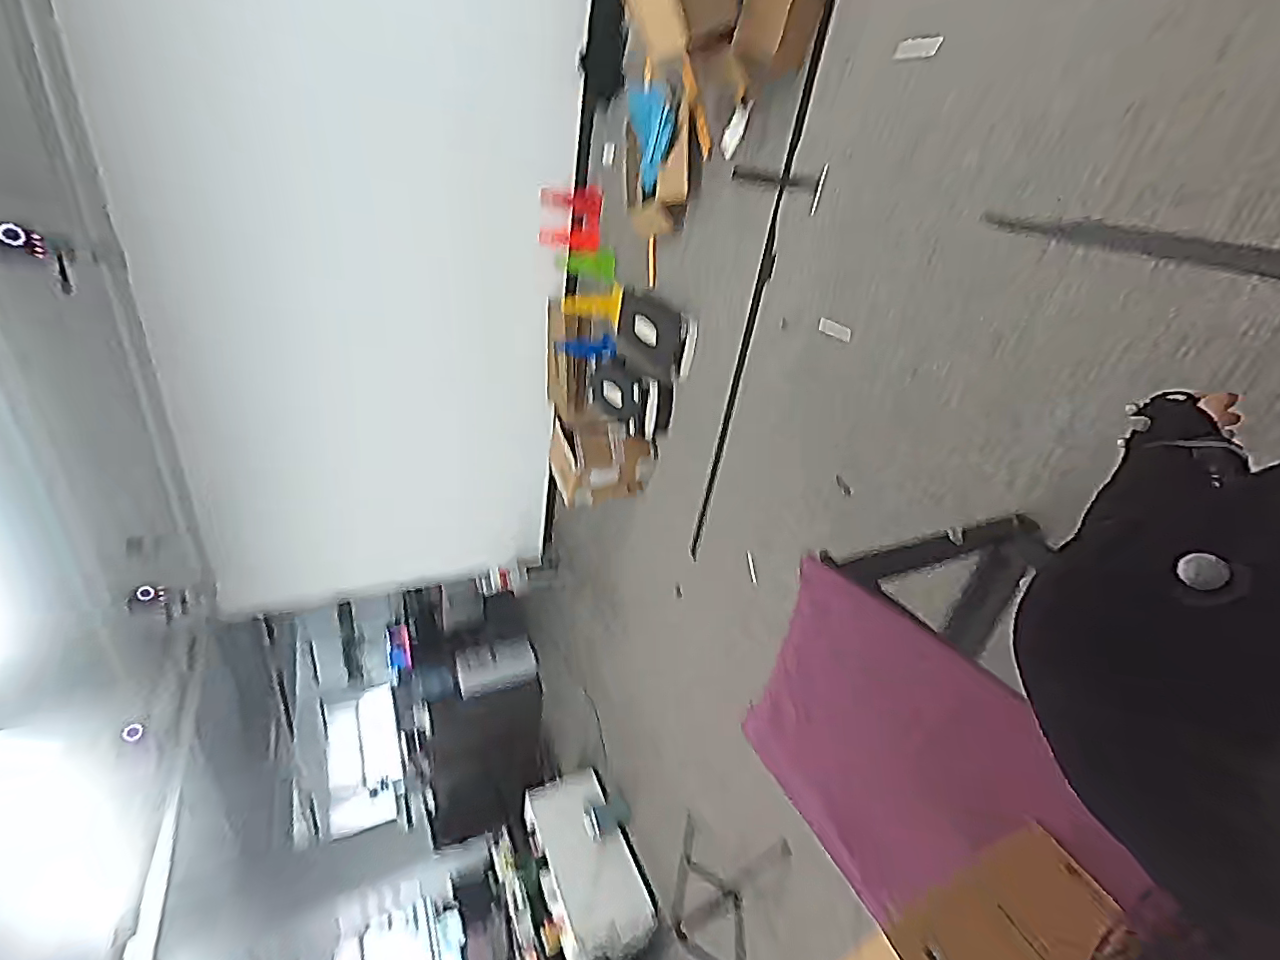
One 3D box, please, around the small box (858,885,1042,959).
[{"bbox_3d":[0.384,0.630,0.646,0.179,0.176,0.168,49,138,46],"label":"small box"}]
